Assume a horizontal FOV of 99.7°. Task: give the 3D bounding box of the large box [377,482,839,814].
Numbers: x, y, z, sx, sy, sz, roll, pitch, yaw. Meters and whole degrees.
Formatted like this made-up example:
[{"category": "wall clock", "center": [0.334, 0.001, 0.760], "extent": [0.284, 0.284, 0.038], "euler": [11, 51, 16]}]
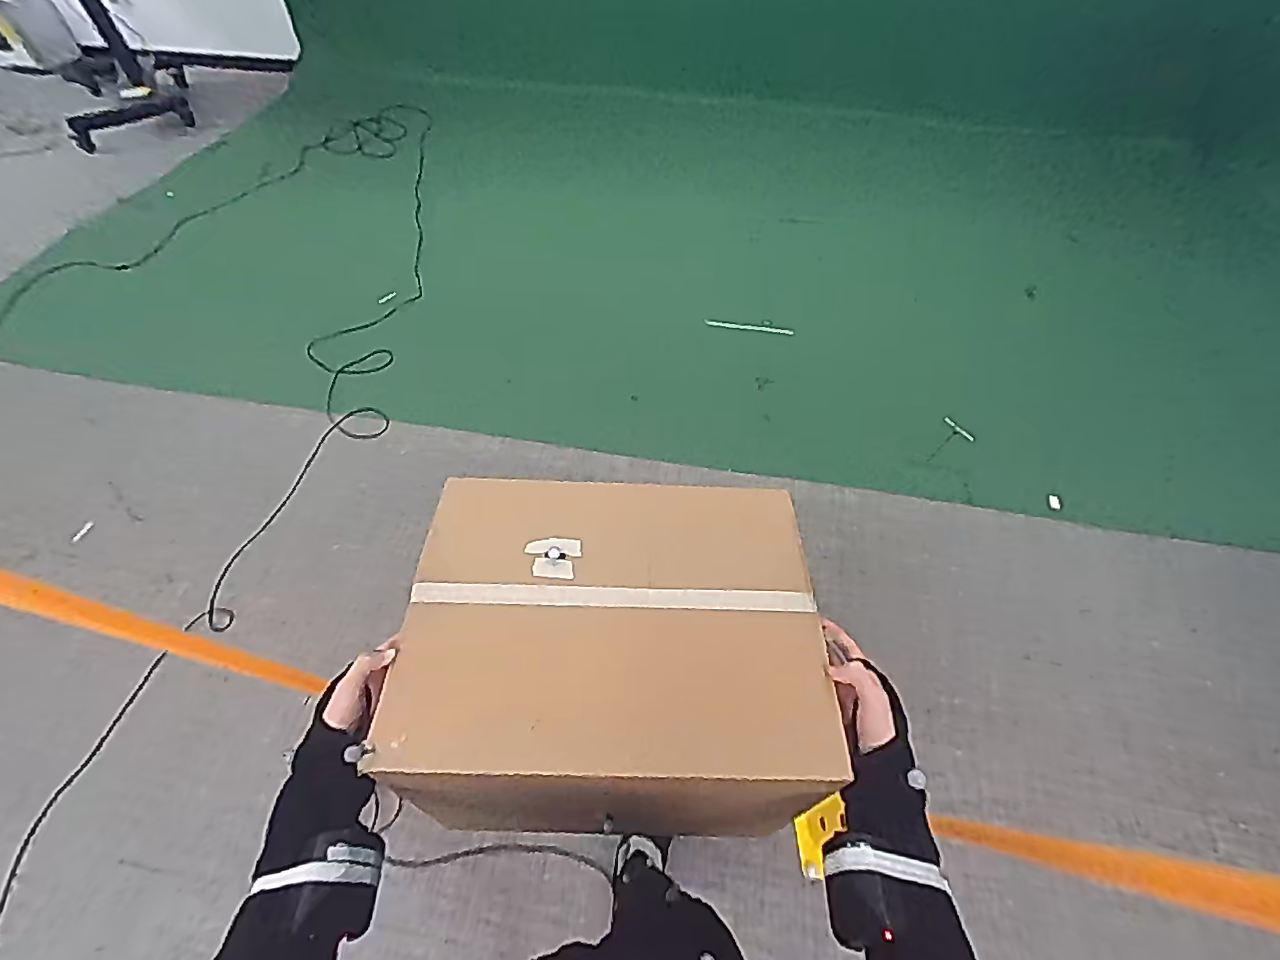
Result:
[{"category": "large box", "center": [-0.028, 0.216, 0.668], "extent": [0.408, 0.320, 0.320], "euler": [1, 50, -1]}]
